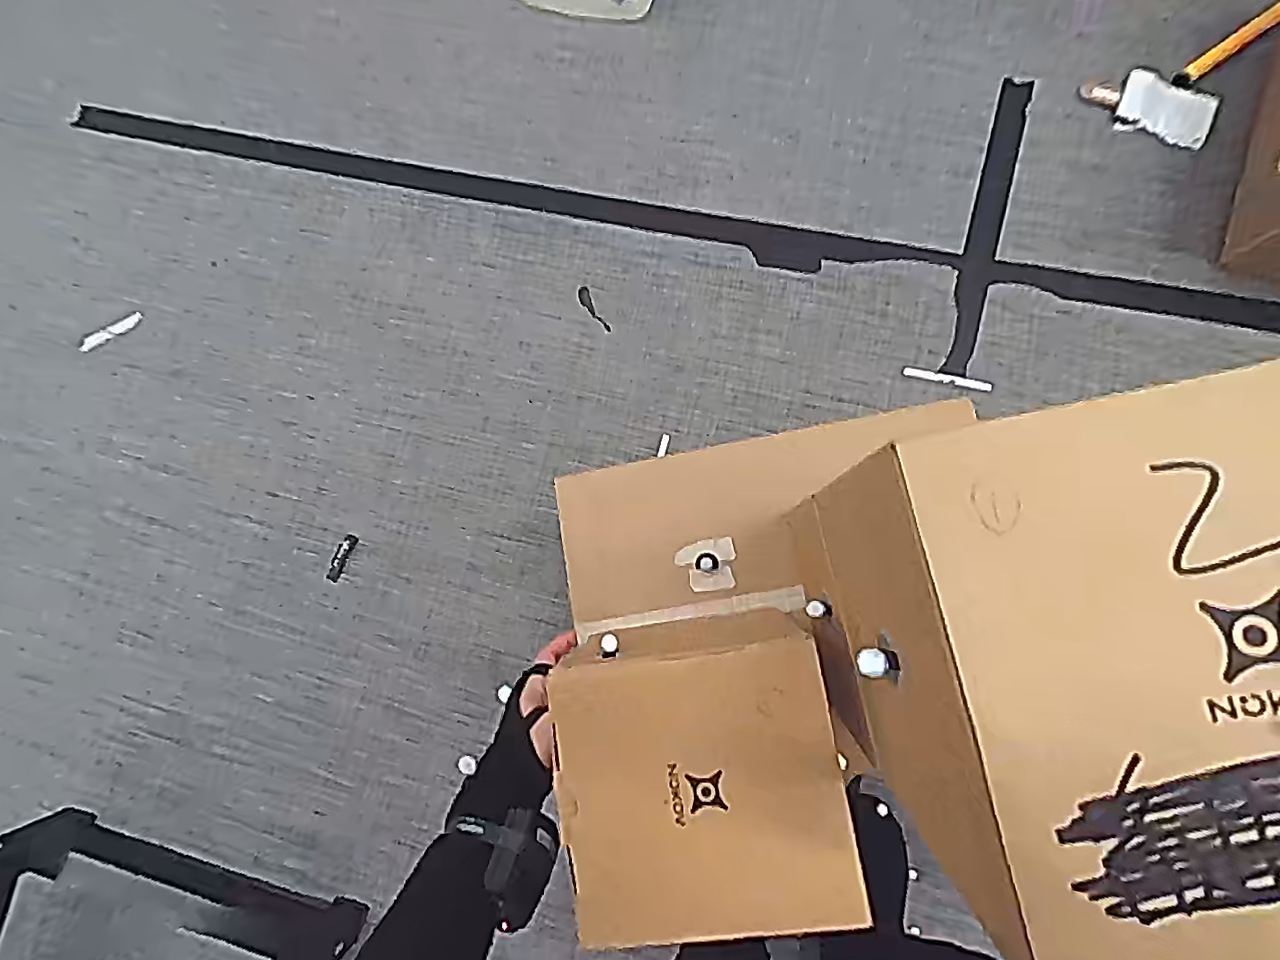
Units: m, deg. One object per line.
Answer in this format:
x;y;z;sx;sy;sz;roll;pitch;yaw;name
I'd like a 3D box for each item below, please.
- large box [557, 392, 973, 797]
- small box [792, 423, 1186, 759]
0.158;0.125;0.650;0.408;0.320;0.320;-12;80;7;large box
0.218;0.075;0.398;0.168;0.176;0.179;-12;81;8;small box
